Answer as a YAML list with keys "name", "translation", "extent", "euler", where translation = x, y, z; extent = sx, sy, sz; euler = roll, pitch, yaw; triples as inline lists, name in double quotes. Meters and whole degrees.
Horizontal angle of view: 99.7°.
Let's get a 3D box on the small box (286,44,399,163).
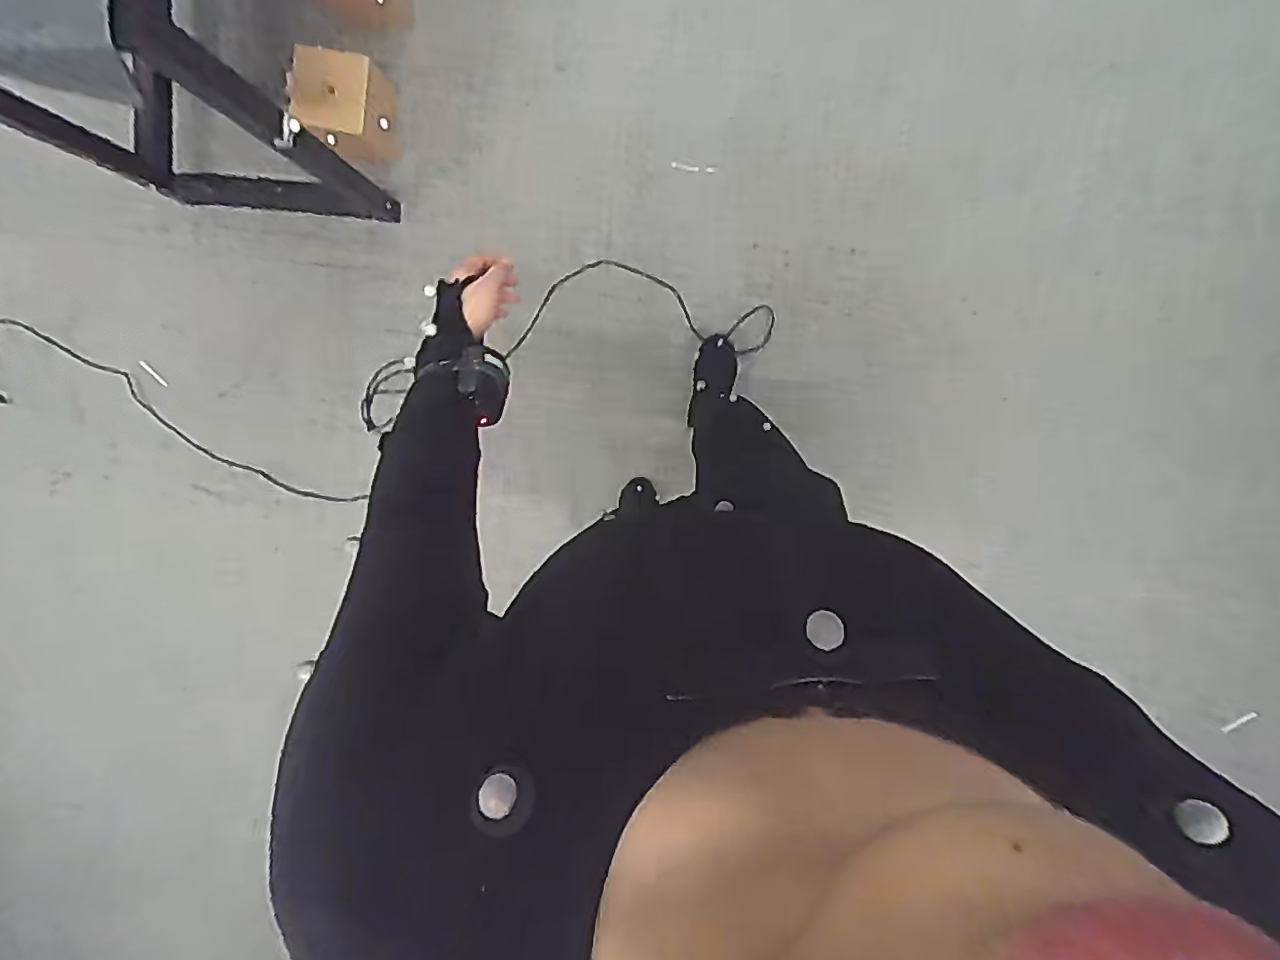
- name: "small box"
  translation: [-0.700, -0.886, 1.292]
  extent: [0.179, 0.176, 0.168]
  euler: [10, 98, 0]
